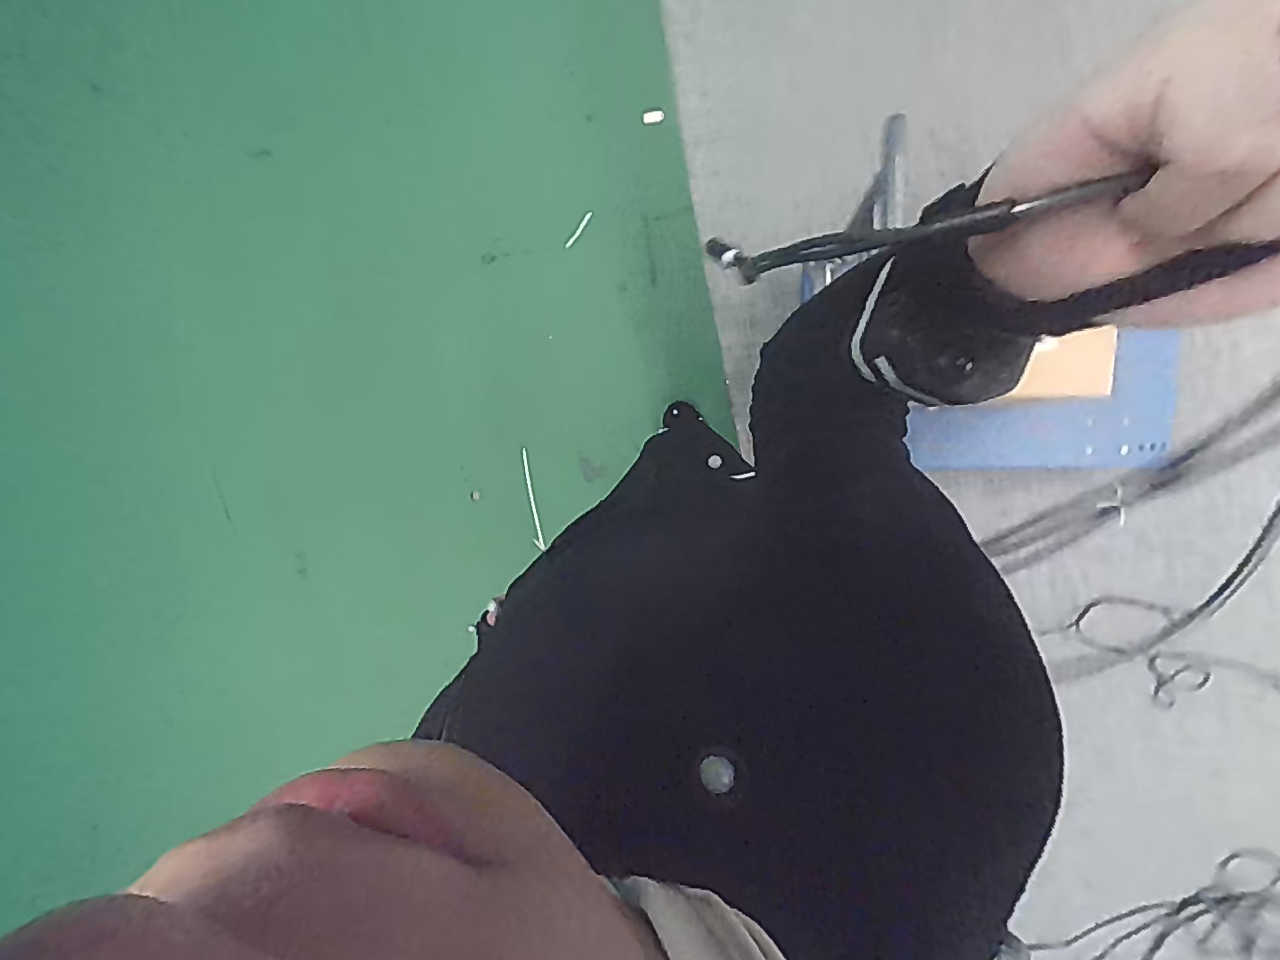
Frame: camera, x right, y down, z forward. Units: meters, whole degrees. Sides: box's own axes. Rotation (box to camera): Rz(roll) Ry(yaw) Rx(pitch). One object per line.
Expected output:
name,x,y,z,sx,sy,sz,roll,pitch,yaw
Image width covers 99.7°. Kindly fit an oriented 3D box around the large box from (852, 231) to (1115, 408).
large box,0.720,-0.330,1.202,0.408,0.320,0.320,1,95,5
